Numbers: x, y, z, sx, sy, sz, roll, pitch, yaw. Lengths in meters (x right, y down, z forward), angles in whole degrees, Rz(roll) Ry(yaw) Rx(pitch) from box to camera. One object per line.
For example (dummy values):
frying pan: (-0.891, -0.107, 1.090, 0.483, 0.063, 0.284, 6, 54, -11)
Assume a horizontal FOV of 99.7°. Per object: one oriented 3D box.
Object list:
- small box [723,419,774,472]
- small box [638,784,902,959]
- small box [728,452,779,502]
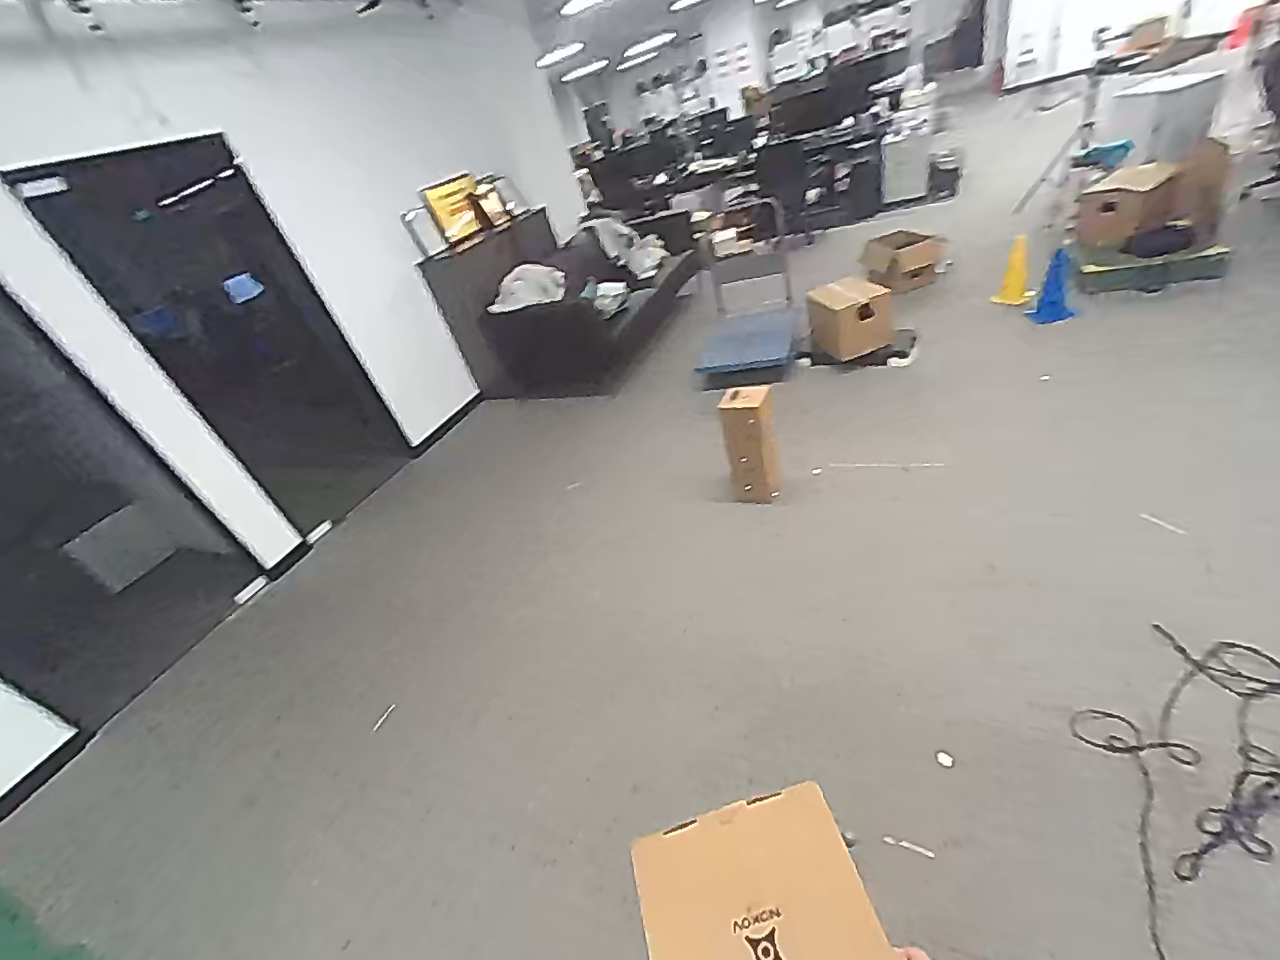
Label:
small box: (0.480, -0.147, 2.353, 0.168, 0.176, 0.179, 3, 39, 29)
small box: (0.110, 0.383, 0.430, 0.168, 0.176, 0.179, -18, 40, -1)
small box: (0.519, -0.016, 2.445, 0.179, 0.176, 0.168, 2, 38, 30)
